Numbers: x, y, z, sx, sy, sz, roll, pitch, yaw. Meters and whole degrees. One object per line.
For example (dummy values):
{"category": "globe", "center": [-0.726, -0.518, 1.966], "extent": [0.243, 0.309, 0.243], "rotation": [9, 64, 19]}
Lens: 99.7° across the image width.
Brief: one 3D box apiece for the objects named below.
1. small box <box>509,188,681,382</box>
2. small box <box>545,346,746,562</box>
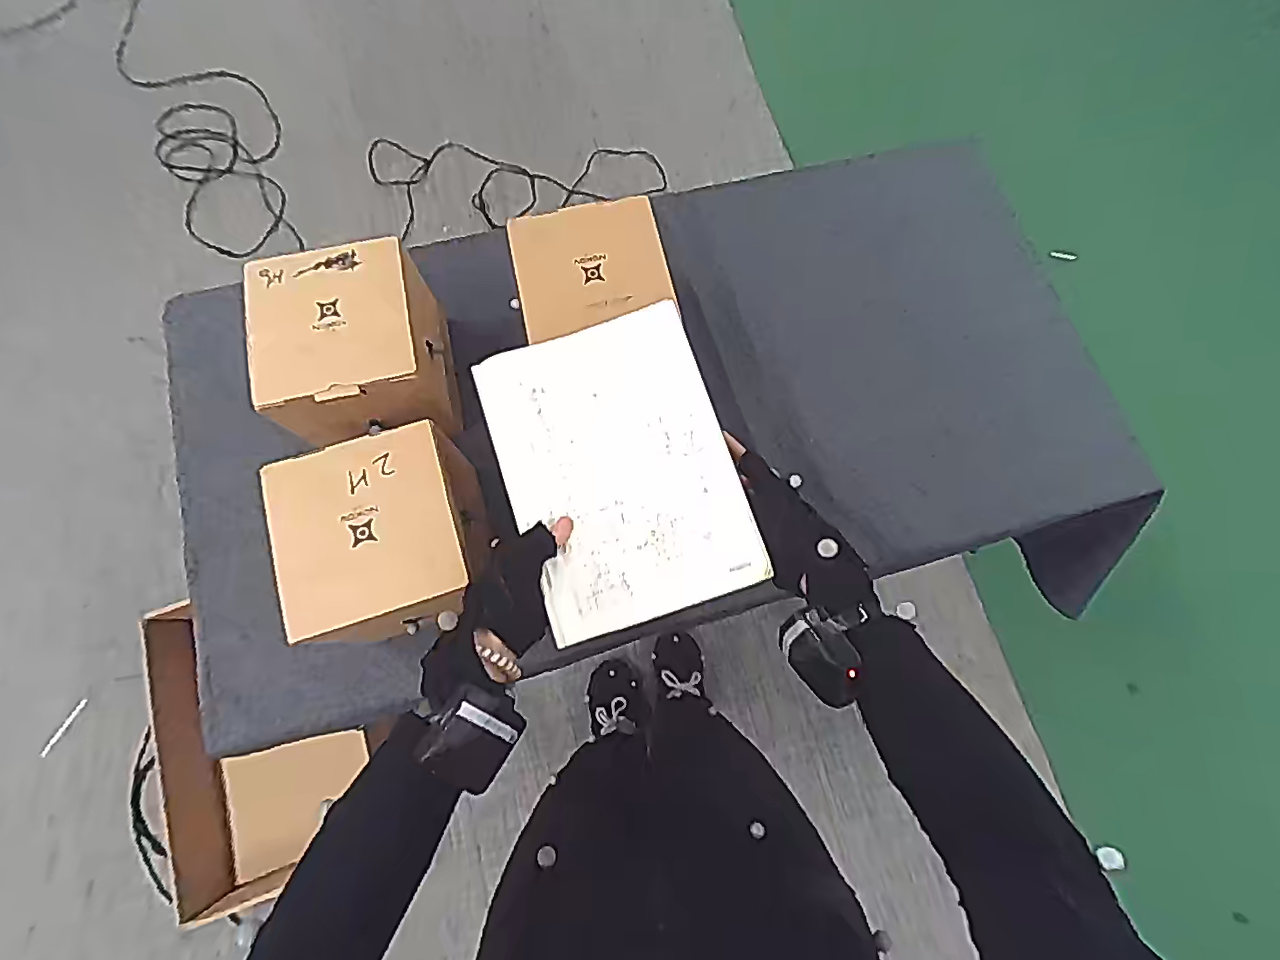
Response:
{"category": "small box", "center": [-0.053, -0.215, 0.665], "extent": [0.168, 0.176, 0.179], "rotation": [-12, 76, -3]}
{"category": "small box", "center": [0.002, -0.019, 0.607], "extent": [0.168, 0.176, 0.179], "rotation": [-15, 76, -3]}
